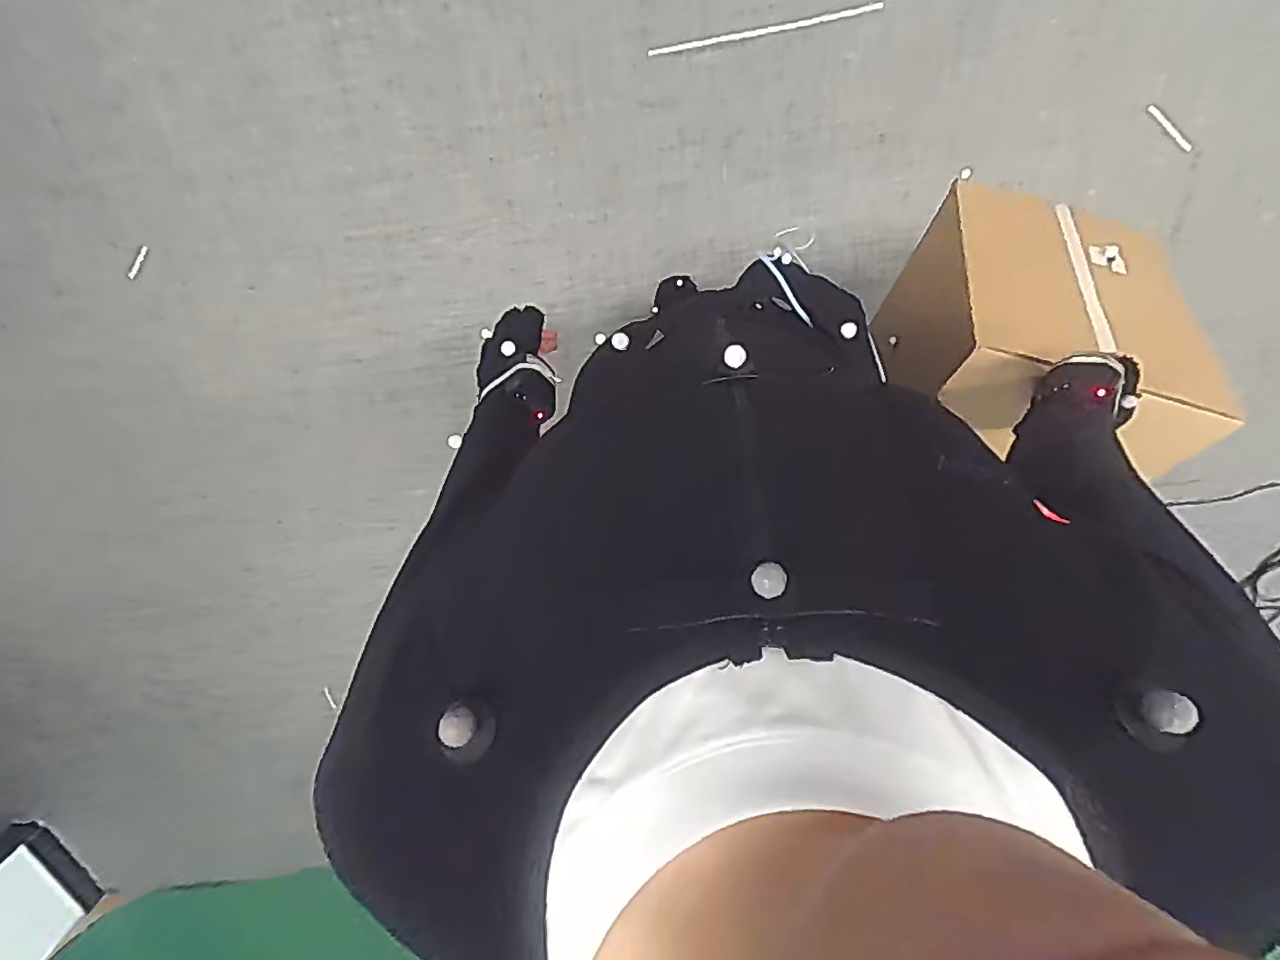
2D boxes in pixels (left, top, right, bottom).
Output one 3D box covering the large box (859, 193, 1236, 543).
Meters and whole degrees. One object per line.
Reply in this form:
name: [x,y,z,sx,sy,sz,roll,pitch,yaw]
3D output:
large box: [0.562,-0.171,0.851,0.320,0.408,0.320,18,145,2]
